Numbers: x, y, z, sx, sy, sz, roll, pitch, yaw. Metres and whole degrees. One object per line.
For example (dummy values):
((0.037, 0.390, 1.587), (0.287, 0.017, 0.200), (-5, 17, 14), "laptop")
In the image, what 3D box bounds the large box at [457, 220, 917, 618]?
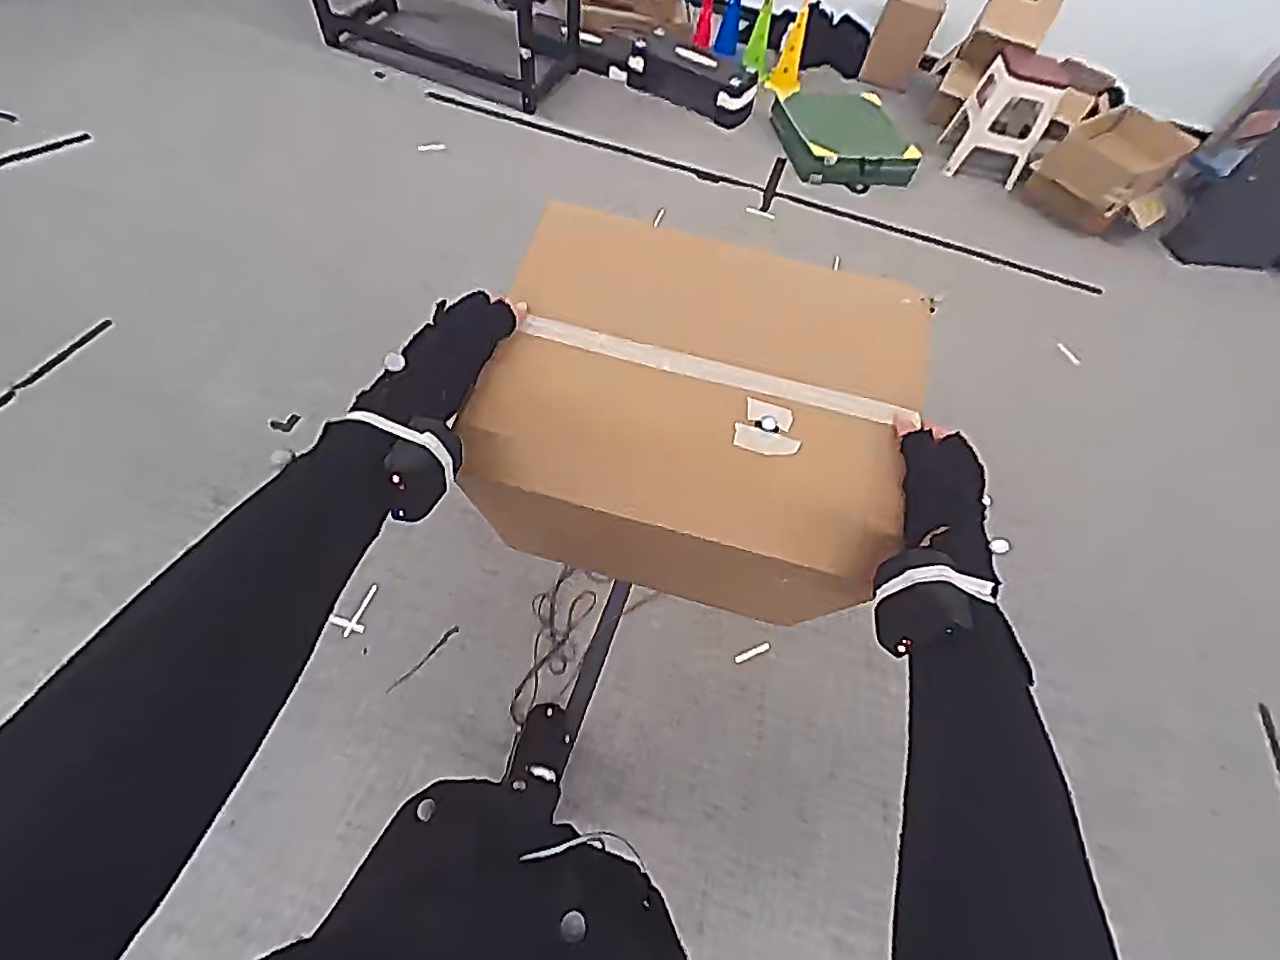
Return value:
((0.054, -0.047, 0.664), (0.408, 0.320, 0.320), (16, 71, 3), "large box")
